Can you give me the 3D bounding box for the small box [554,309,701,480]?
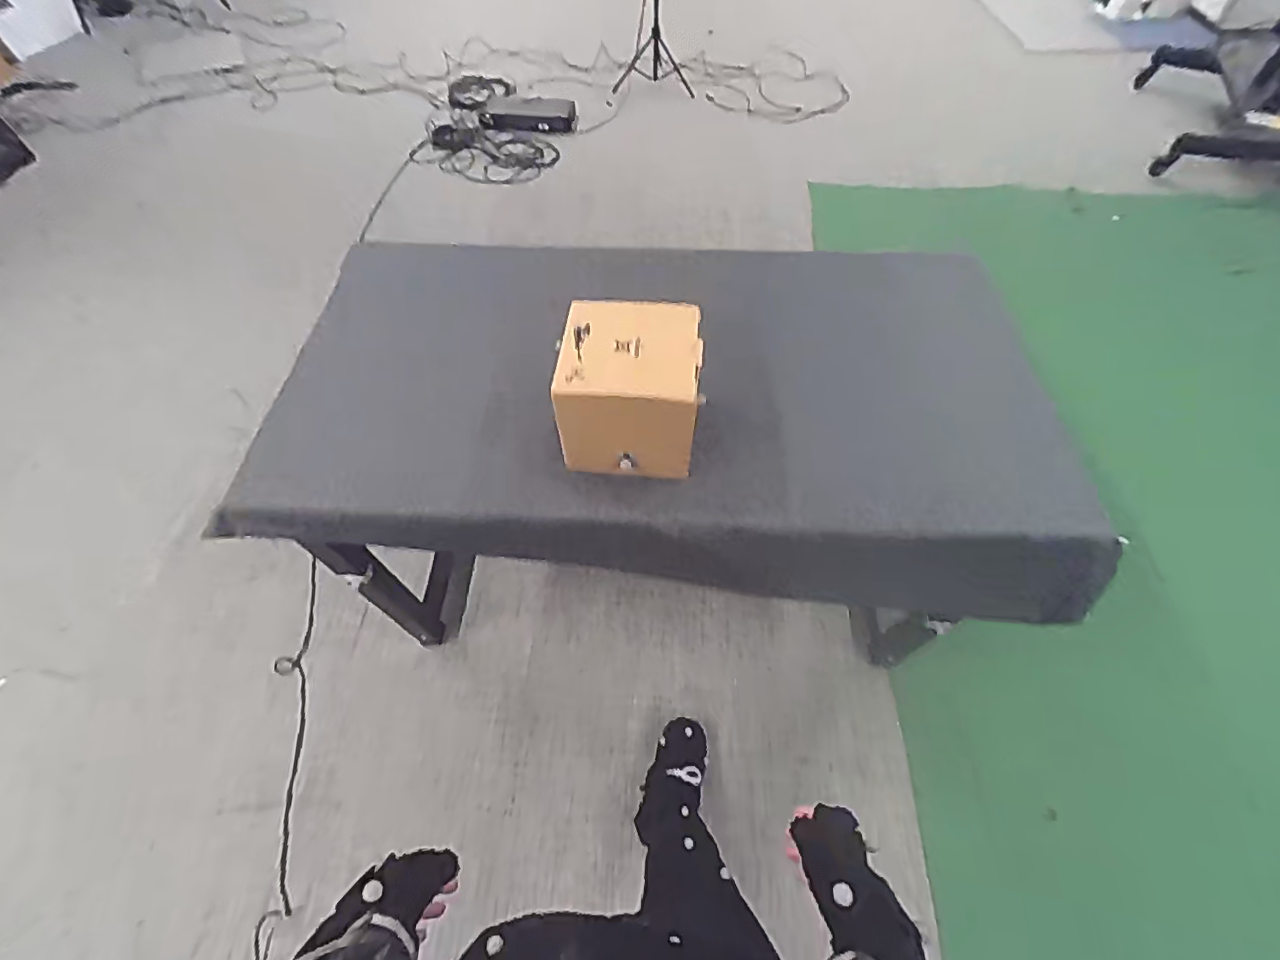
[{"bbox_3d":[-0.012,-0.114,0.757,0.179,0.176,0.168,4,56,3],"label":"small box"}]
